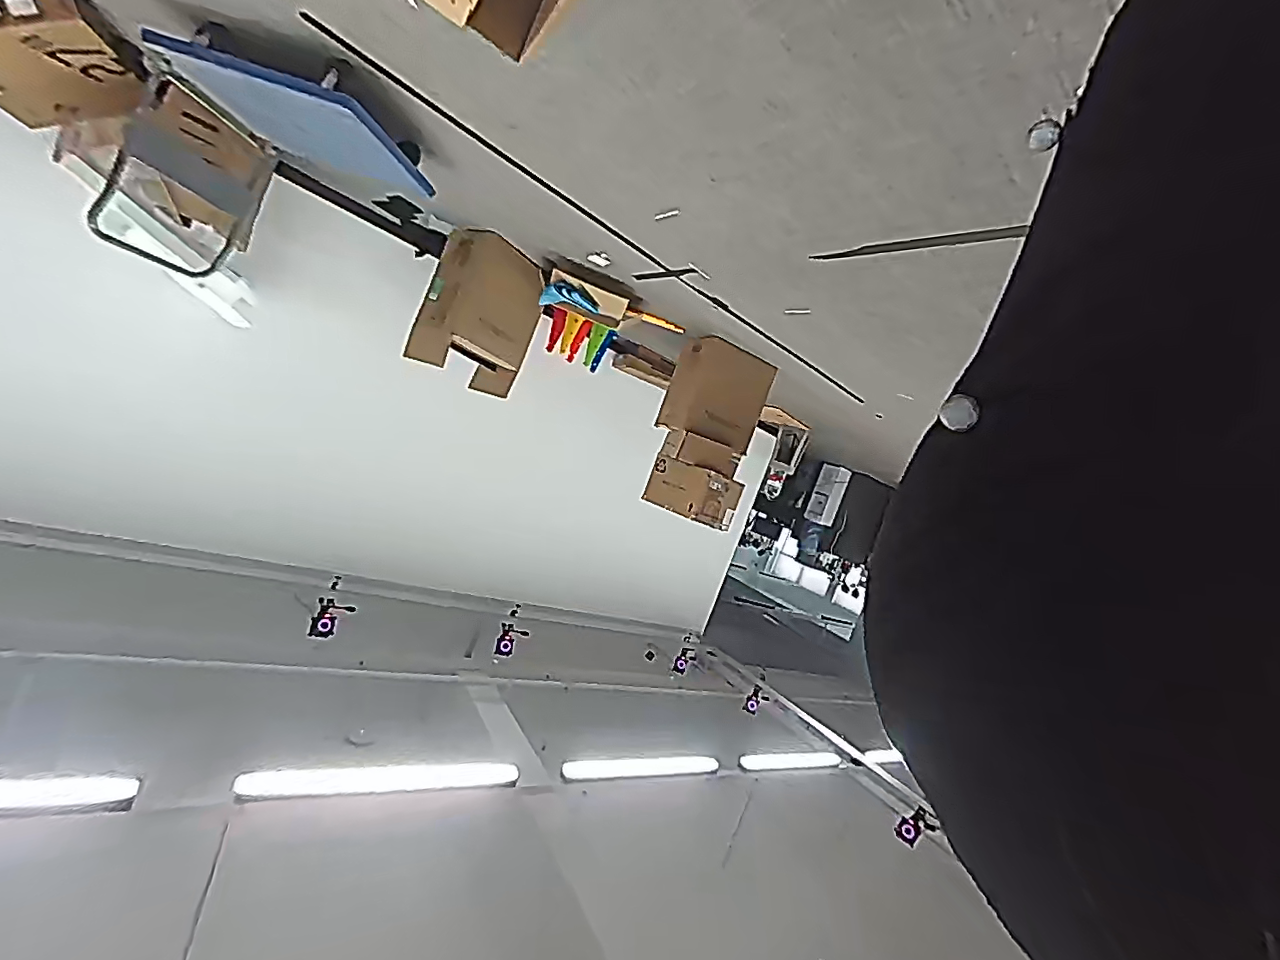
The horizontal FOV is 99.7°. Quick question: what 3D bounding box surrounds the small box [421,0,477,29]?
[{"bbox_3d":[-0.301,-0.855,0.810,0.179,0.176,0.168,20,-178,-33],"label":"small box"}]
